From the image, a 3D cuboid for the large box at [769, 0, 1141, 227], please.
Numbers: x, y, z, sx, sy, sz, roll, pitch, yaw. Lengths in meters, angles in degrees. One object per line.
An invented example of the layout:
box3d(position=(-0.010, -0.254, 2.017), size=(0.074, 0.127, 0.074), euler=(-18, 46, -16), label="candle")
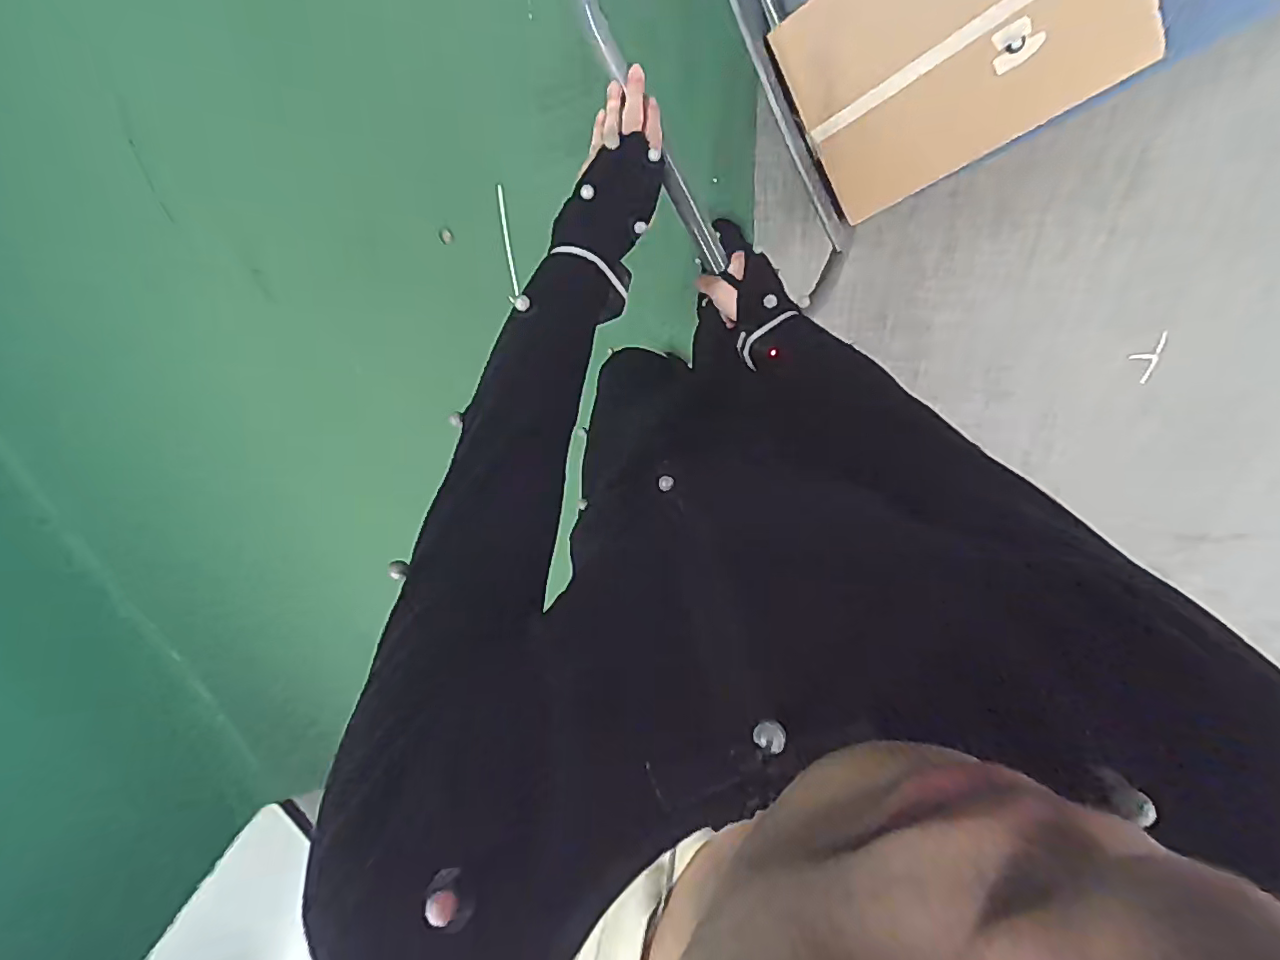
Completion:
box3d(position=(0.477, -0.690, 0.878), size=(0.408, 0.320, 0.320), euler=(-18, 117, 35), label="large box")
